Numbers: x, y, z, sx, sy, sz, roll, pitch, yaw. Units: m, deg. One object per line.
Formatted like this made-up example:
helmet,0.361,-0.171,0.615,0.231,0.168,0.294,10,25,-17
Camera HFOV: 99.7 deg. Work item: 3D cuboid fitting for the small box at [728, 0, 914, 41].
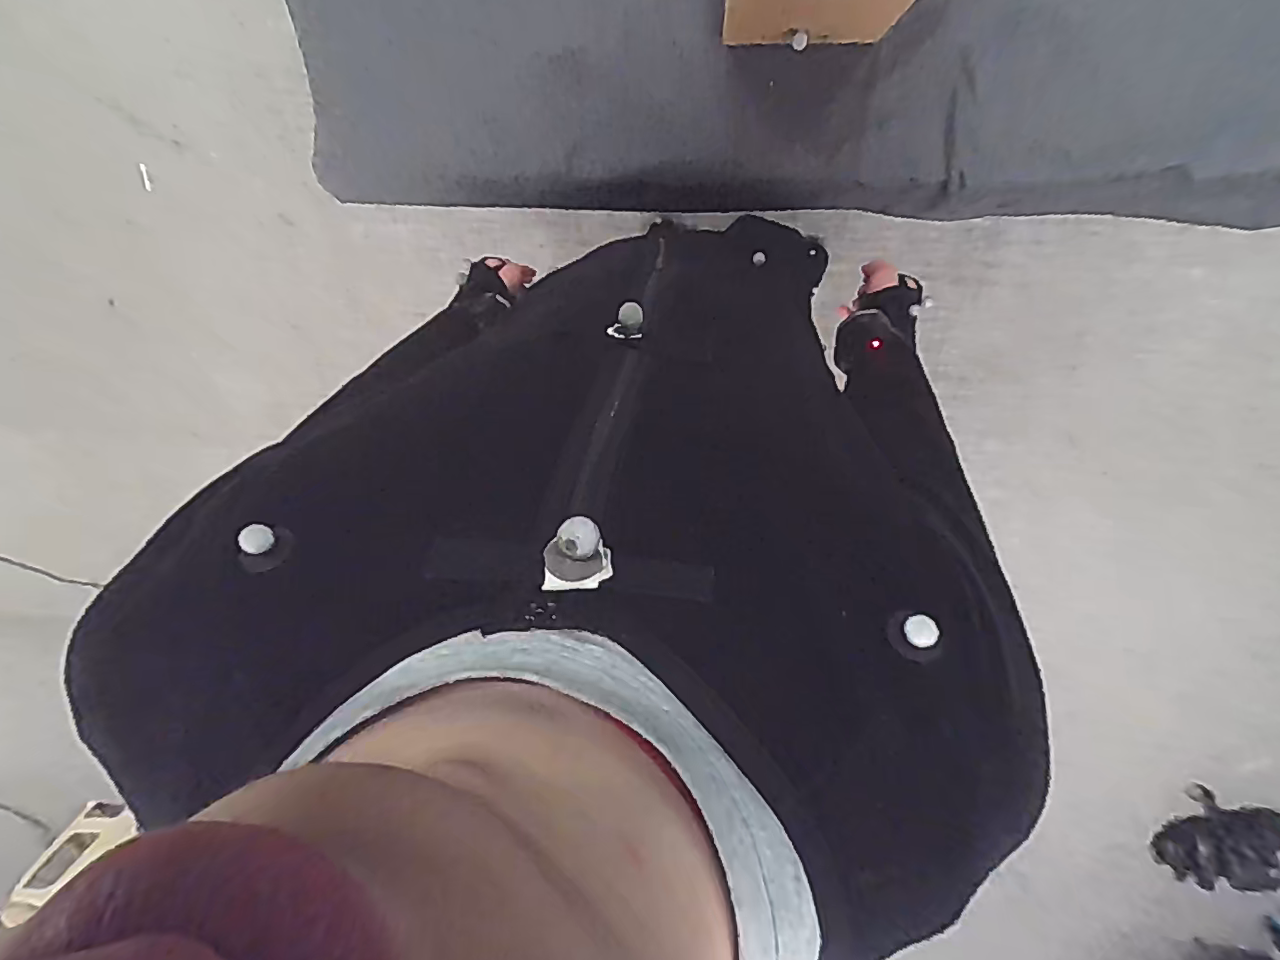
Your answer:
small box,0.167,-0.516,0.469,0.168,0.176,0.179,4,117,6
